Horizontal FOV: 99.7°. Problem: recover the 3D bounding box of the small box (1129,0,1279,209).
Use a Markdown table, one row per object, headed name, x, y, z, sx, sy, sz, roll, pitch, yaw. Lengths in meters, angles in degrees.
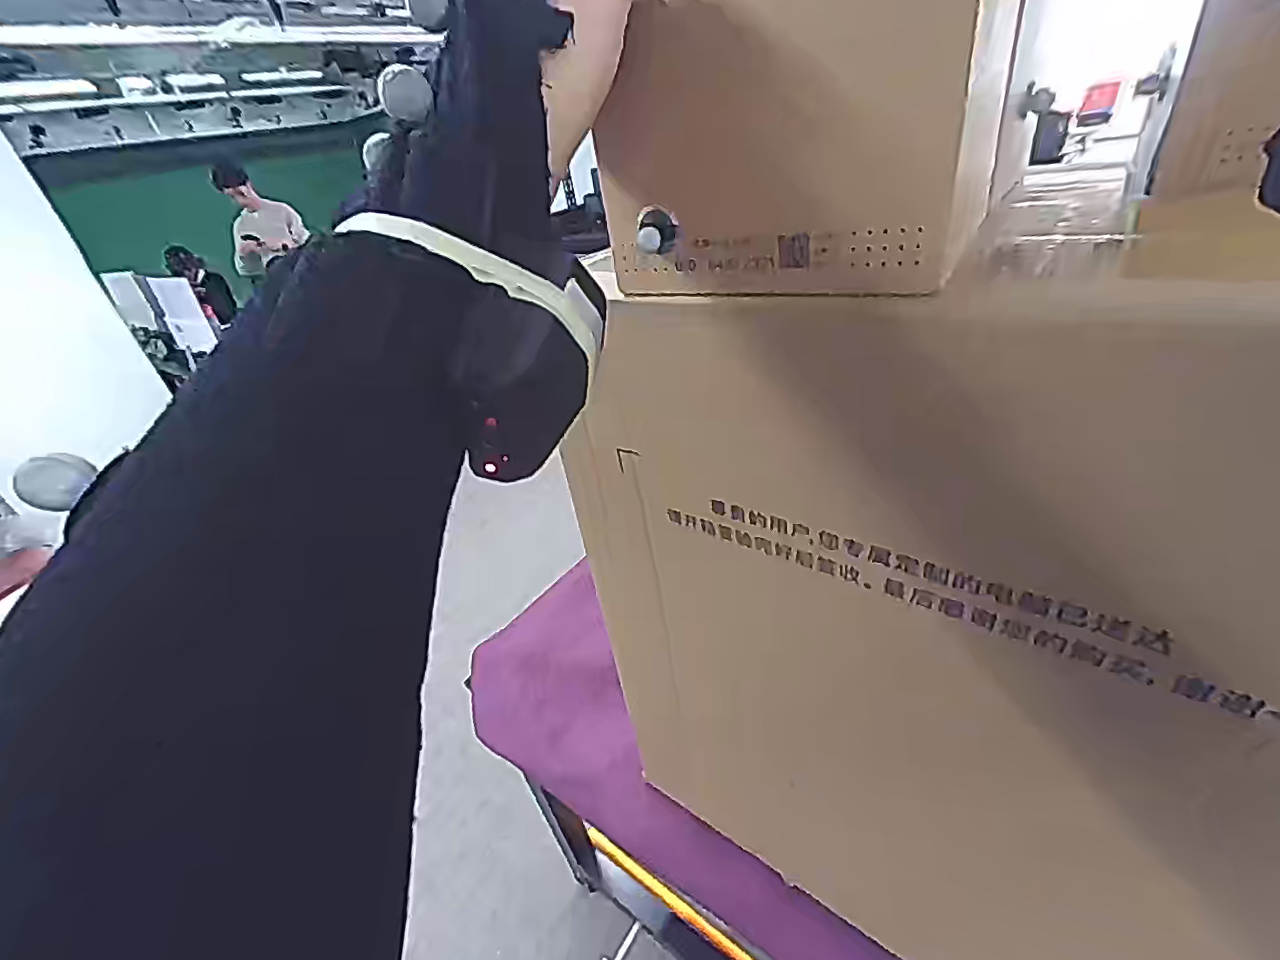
| name | x | y | z | sx | sy | sz | roll | pitch | yaw |
| --- | --- | --- | --- | --- | --- | --- | --- | --- | --- |
| small box | 0.392 | -0.252 | 0.277 | 0.179 | 0.176 | 0.168 | 11 | 38 | 33 |
